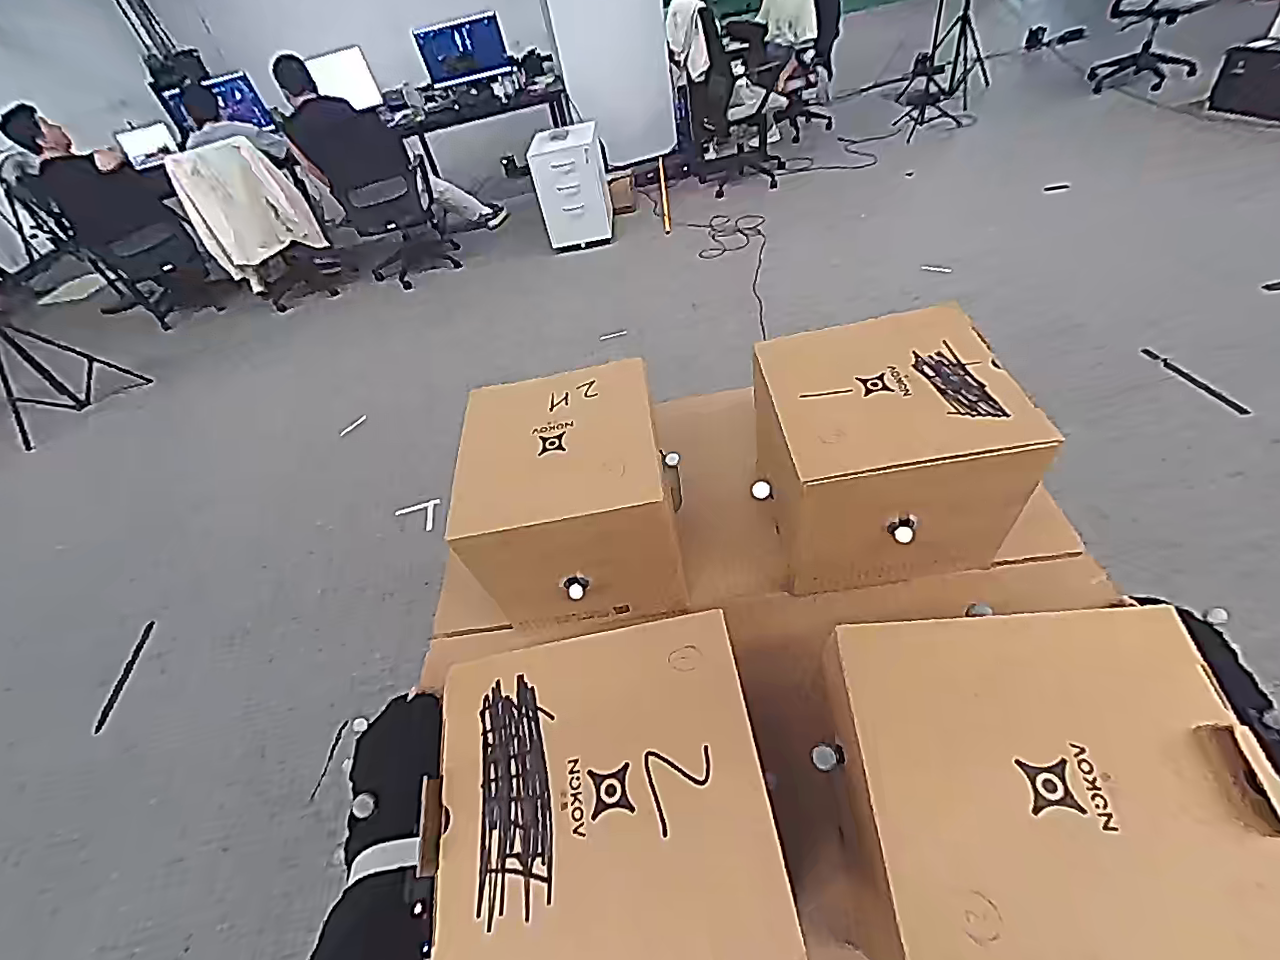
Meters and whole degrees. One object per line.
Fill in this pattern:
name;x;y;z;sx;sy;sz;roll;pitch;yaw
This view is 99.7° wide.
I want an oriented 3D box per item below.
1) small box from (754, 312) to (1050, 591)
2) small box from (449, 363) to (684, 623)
small box;0.202;-0.018;0.482;0.179;0.176;0.168;-9;49;7
small box;-0.056;0.021;0.512;0.168;0.176;0.179;-10;48;5
